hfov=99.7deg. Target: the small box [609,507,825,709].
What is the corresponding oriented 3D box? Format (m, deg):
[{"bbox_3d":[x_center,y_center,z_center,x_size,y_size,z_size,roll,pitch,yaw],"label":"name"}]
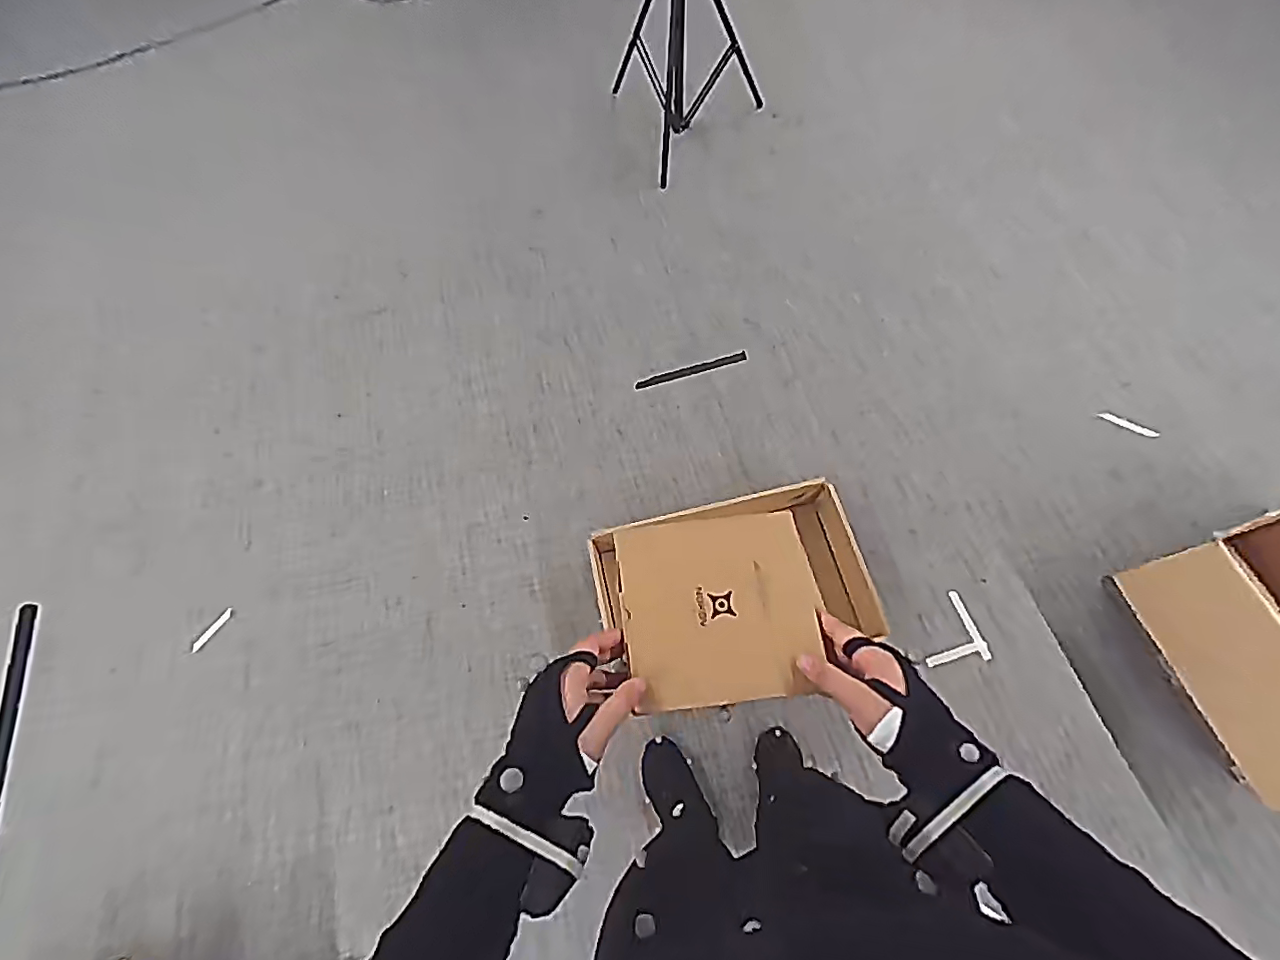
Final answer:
[{"bbox_3d":[0.065,0.141,0.566,0.179,0.176,0.168,-6,67,-4],"label":"small box"}]
